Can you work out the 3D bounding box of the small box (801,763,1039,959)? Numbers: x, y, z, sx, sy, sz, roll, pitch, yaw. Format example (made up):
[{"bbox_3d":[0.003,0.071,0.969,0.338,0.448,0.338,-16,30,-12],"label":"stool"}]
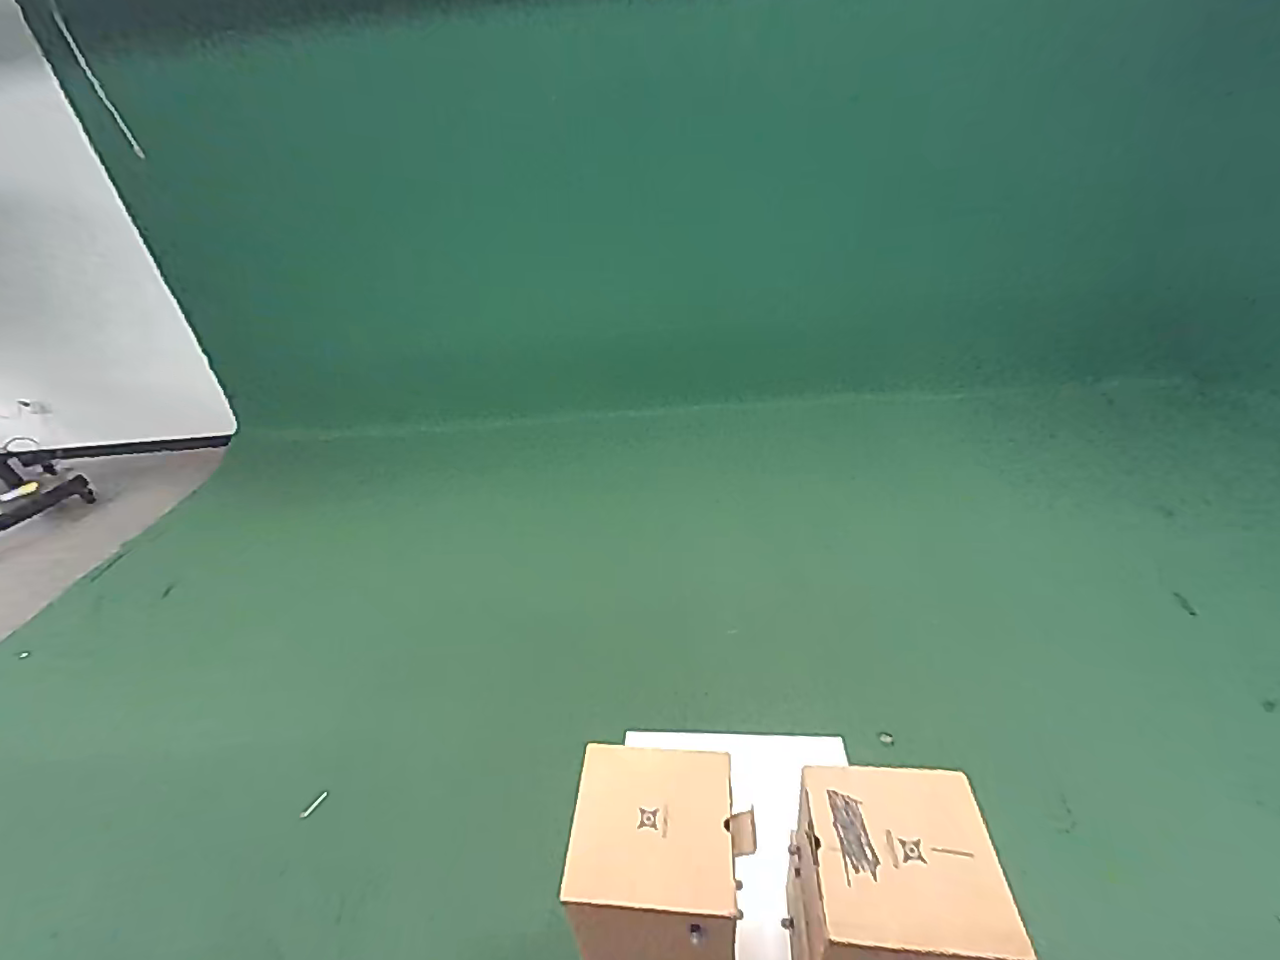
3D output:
[{"bbox_3d":[0.269,0.430,0.573,0.179,0.176,0.168,0,34,9],"label":"small box"}]
